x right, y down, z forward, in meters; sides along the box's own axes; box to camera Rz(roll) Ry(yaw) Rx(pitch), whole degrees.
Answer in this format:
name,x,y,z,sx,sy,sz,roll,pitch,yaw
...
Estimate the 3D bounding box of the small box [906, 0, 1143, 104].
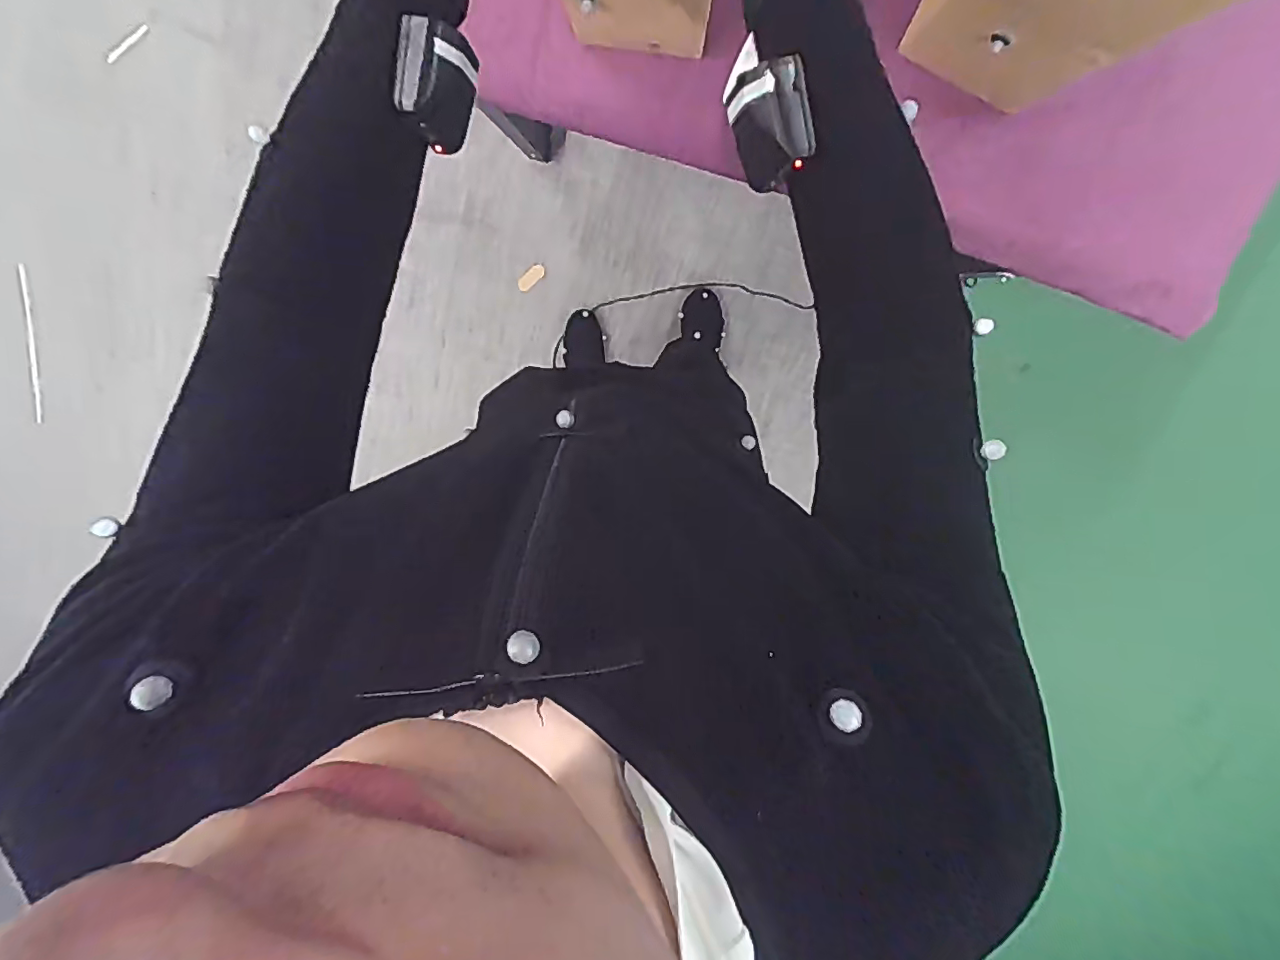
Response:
name,x,y,z,sx,sy,sz,roll,pitch,yaw
small box,0.444,-0.566,0.612,0.179,0.176,0.168,22,109,-7
